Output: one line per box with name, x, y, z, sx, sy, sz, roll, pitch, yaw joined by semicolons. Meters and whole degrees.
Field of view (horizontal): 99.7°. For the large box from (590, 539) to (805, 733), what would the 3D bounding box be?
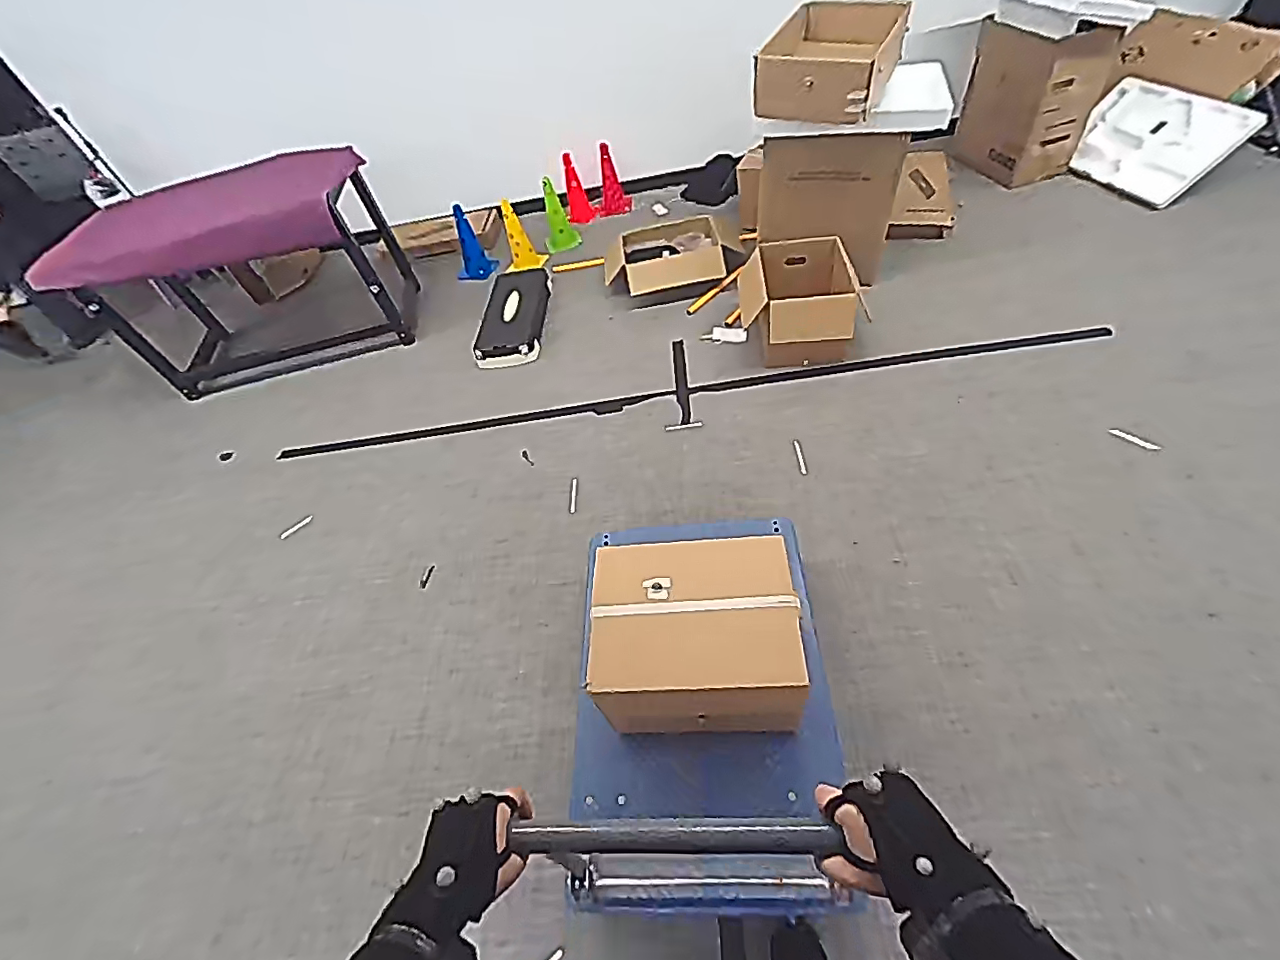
large box;0.128;0.358;1.203;0.408;0.320;0.320;-6;50;8
